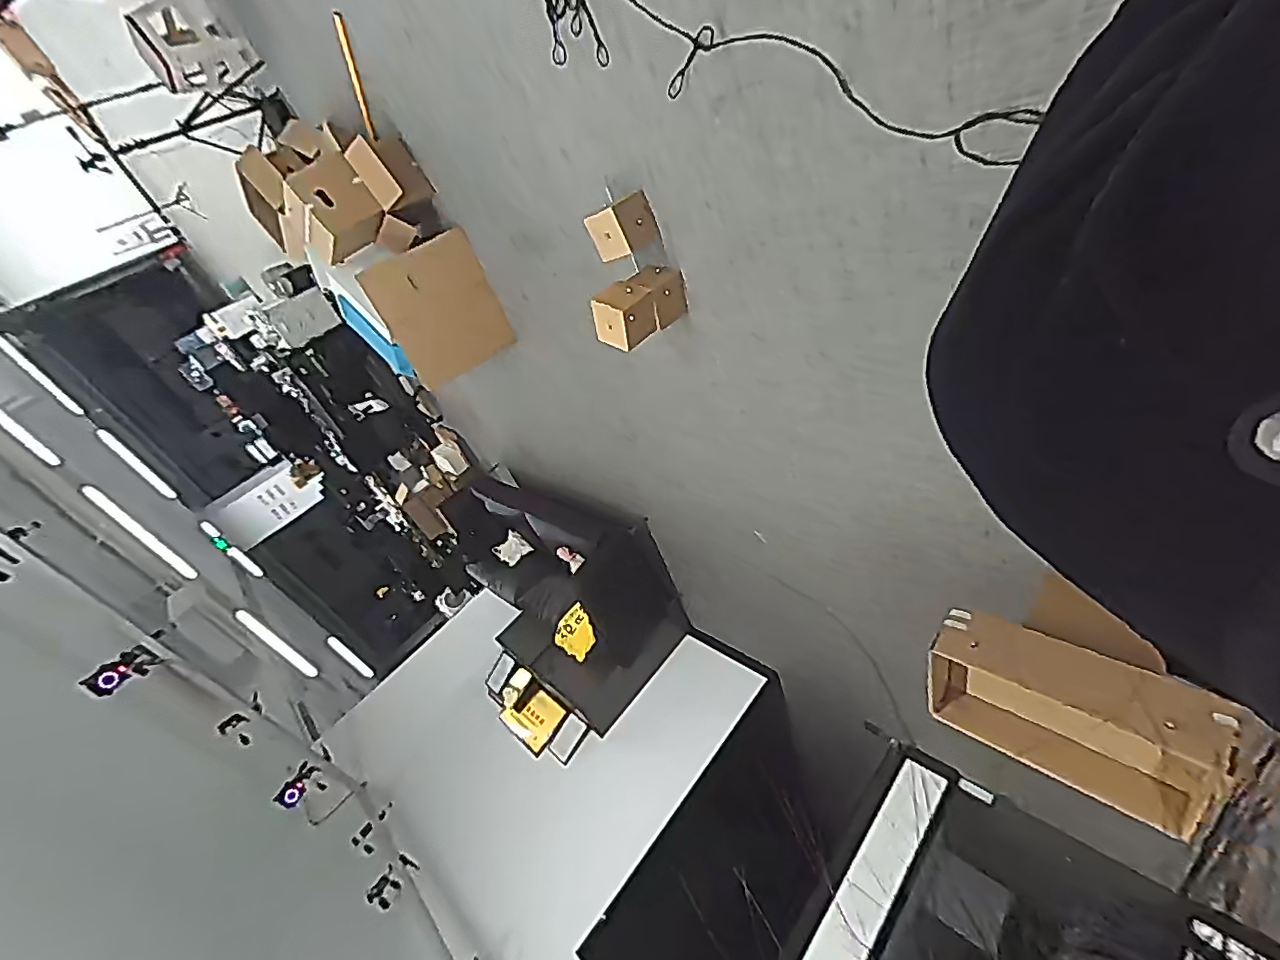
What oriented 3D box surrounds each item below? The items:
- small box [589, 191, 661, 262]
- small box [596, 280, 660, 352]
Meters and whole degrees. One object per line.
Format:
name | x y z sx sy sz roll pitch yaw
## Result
small box | -0.046 -0.929 1.980 0.179 0.176 0.168 11 137 51
small box | -0.037 -0.622 2.040 0.168 0.176 0.179 30 149 31
